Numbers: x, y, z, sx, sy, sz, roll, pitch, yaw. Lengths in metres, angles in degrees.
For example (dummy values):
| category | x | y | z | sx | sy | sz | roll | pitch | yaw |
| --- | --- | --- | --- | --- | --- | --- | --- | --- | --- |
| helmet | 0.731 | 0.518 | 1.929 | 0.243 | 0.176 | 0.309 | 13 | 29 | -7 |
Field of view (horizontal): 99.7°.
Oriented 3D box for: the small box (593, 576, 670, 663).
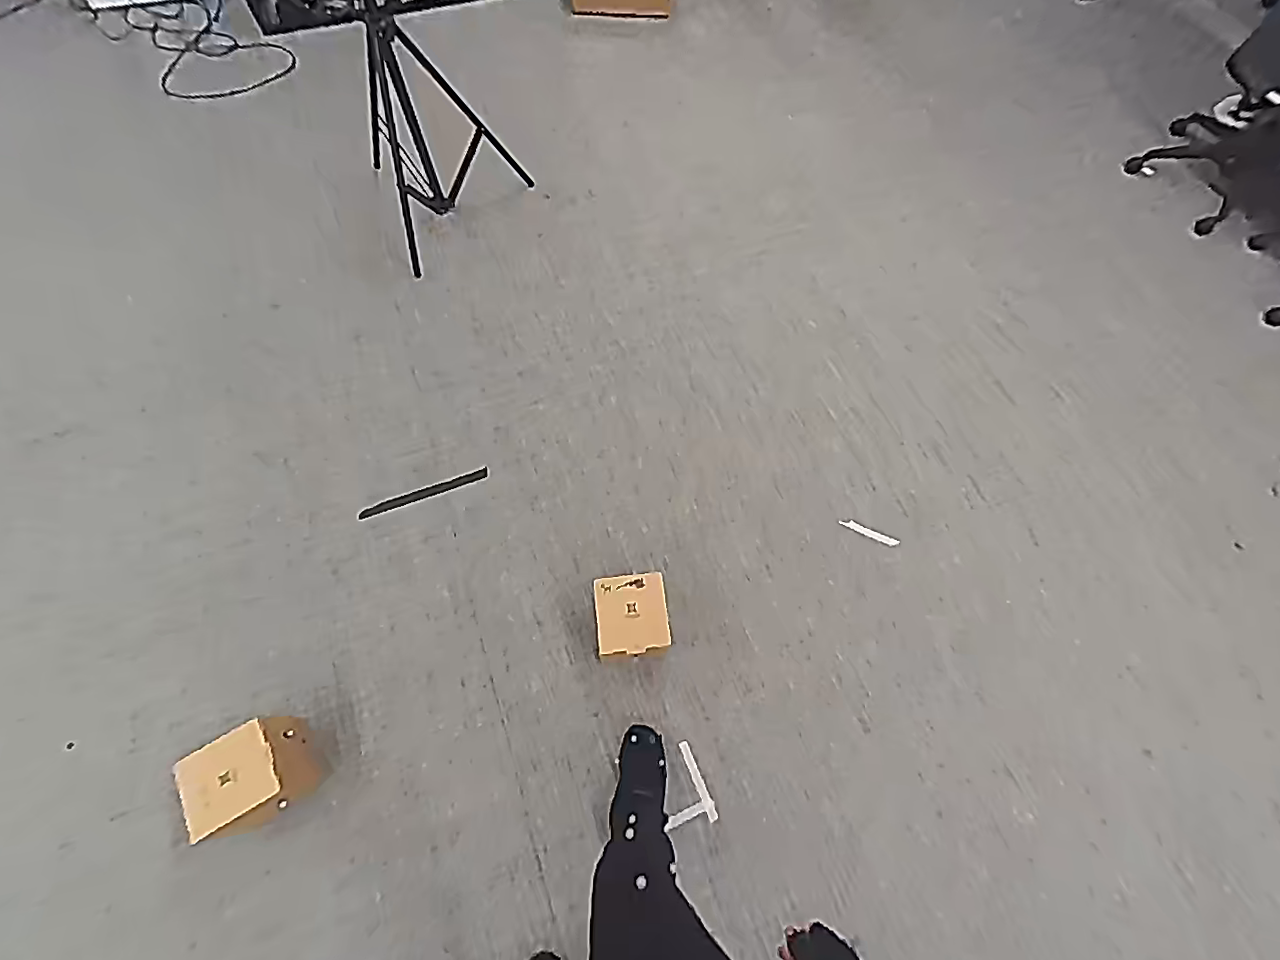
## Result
| category | x | y | z | sx | sy | sz | roll | pitch | yaw |
| --- | --- | --- | --- | --- | --- | --- | --- | --- | --- |
| small box | -0.022 | 0.344 | 1.310 | 0.168 | 0.176 | 0.179 | -5 | 66 | -4 |

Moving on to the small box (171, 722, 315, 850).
| category | x | y | z | sx | sy | sz | roll | pitch | yaw |
| --- | --- | --- | --- | --- | --- | --- | --- | --- | --- |
| small box | -0.831 | 0.640 | 1.153 | 0.179 | 0.176 | 0.168 | -30 | 68 | -13 |
